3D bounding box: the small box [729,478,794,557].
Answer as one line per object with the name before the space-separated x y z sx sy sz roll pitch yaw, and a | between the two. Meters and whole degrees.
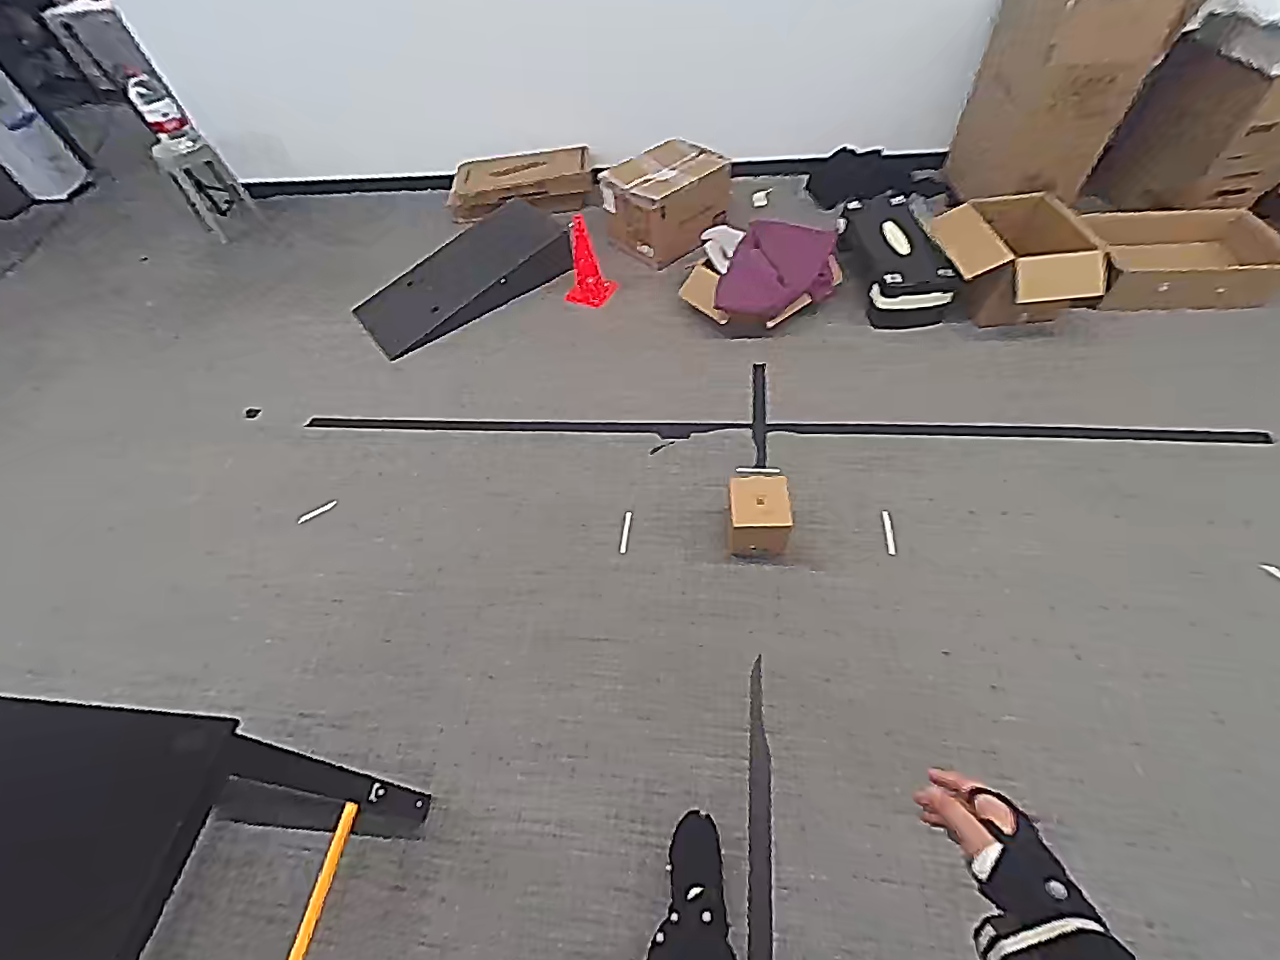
small box | 0.354 0.114 1.606 0.168 0.176 0.179 -2 54 6
